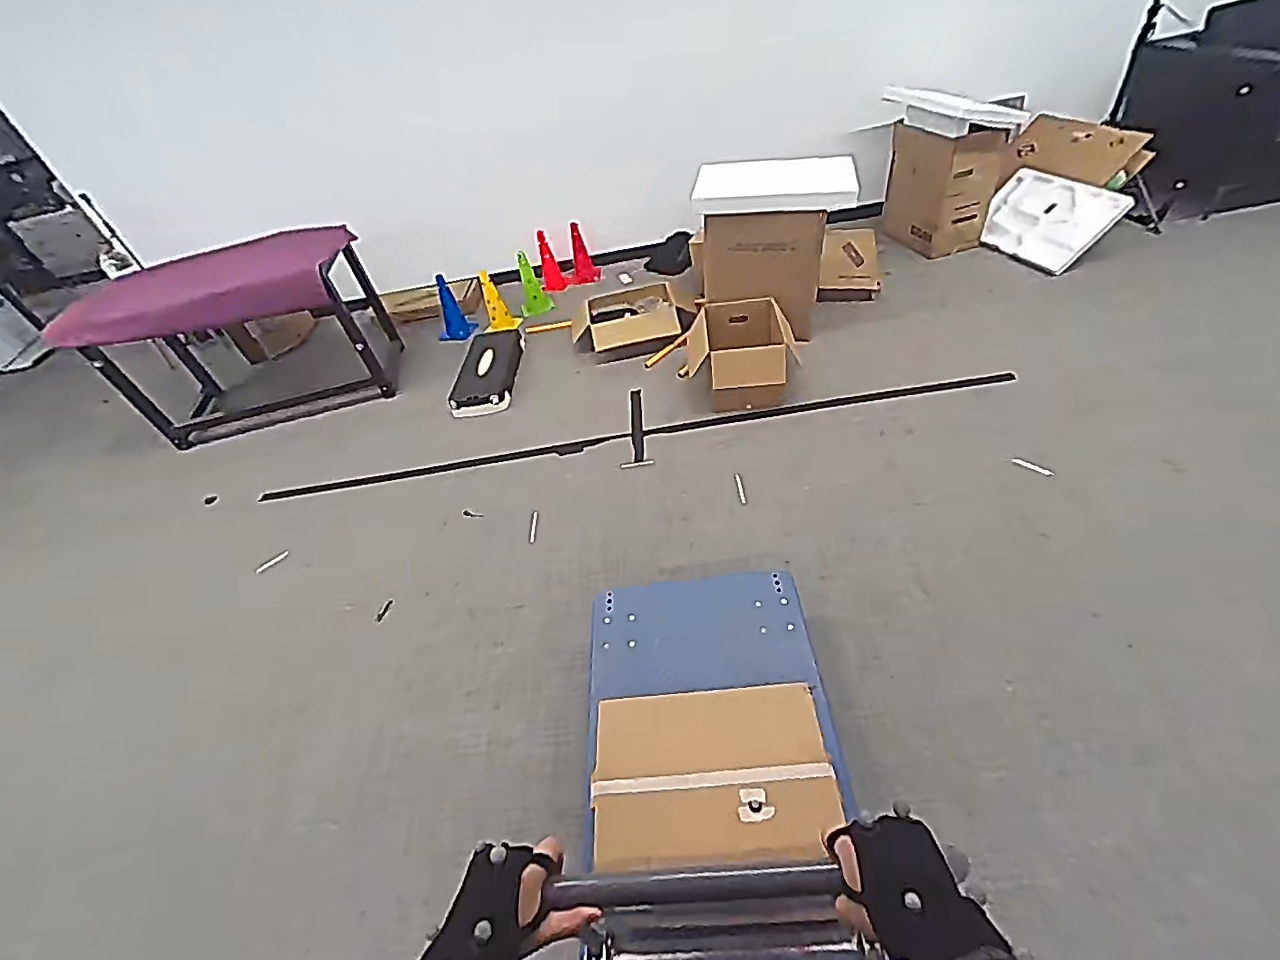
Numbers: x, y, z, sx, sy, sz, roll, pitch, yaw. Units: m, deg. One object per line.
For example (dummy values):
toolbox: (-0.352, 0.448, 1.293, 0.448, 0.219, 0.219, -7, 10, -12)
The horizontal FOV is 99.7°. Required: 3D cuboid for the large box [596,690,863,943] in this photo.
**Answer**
large box: (0.143, 0.625, 1.002, 0.408, 0.320, 0.320, -7, 44, 4)
